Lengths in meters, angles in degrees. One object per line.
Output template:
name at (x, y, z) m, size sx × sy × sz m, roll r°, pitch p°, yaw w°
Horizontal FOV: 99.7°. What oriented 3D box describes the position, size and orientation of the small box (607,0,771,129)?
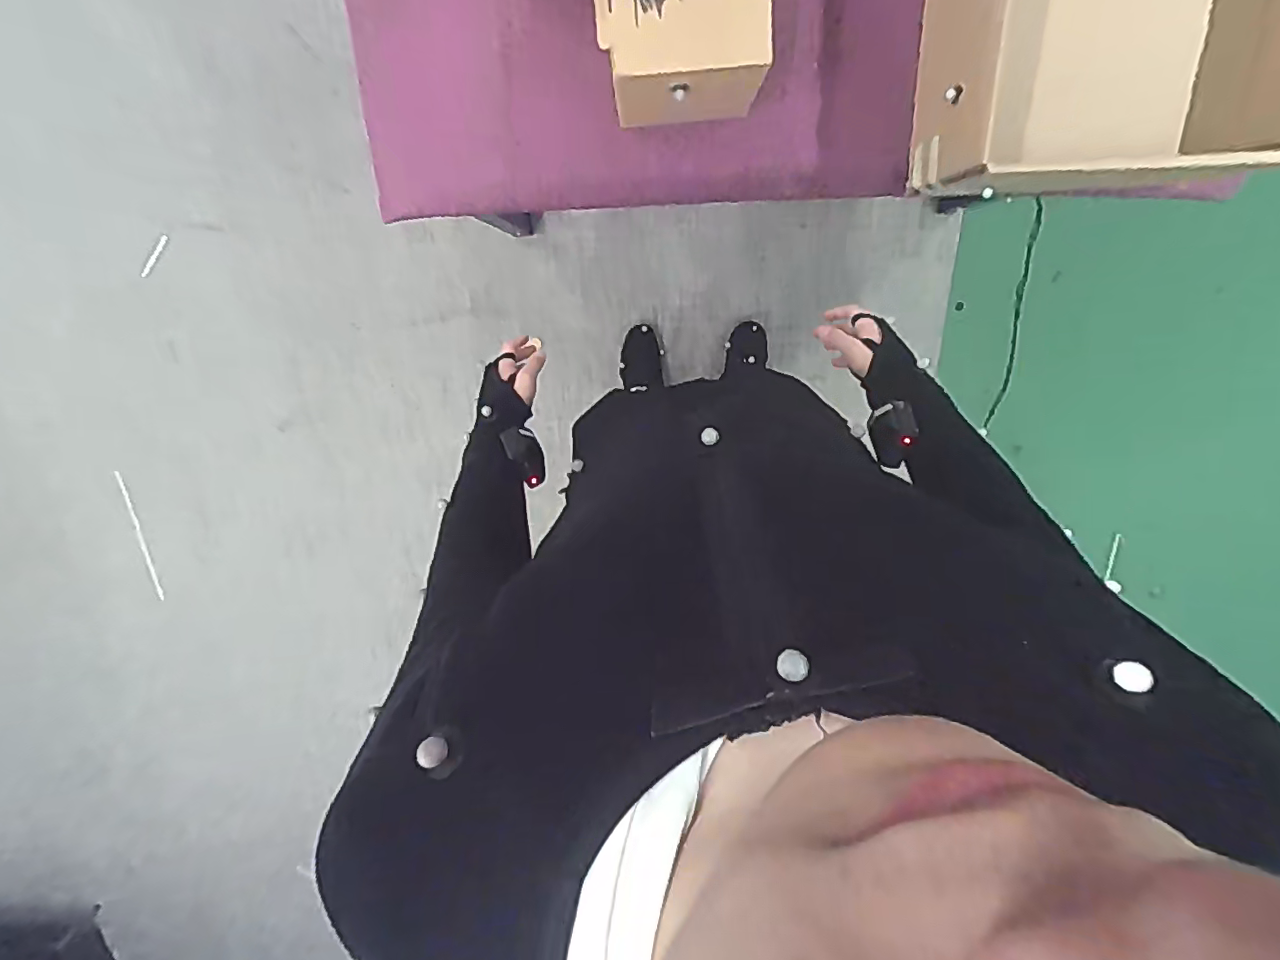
small box at (0.054, -0.544, 0.649) m, size 0.179 × 0.176 × 0.168 m, roll -4°, pitch 107°, yaw 2°
